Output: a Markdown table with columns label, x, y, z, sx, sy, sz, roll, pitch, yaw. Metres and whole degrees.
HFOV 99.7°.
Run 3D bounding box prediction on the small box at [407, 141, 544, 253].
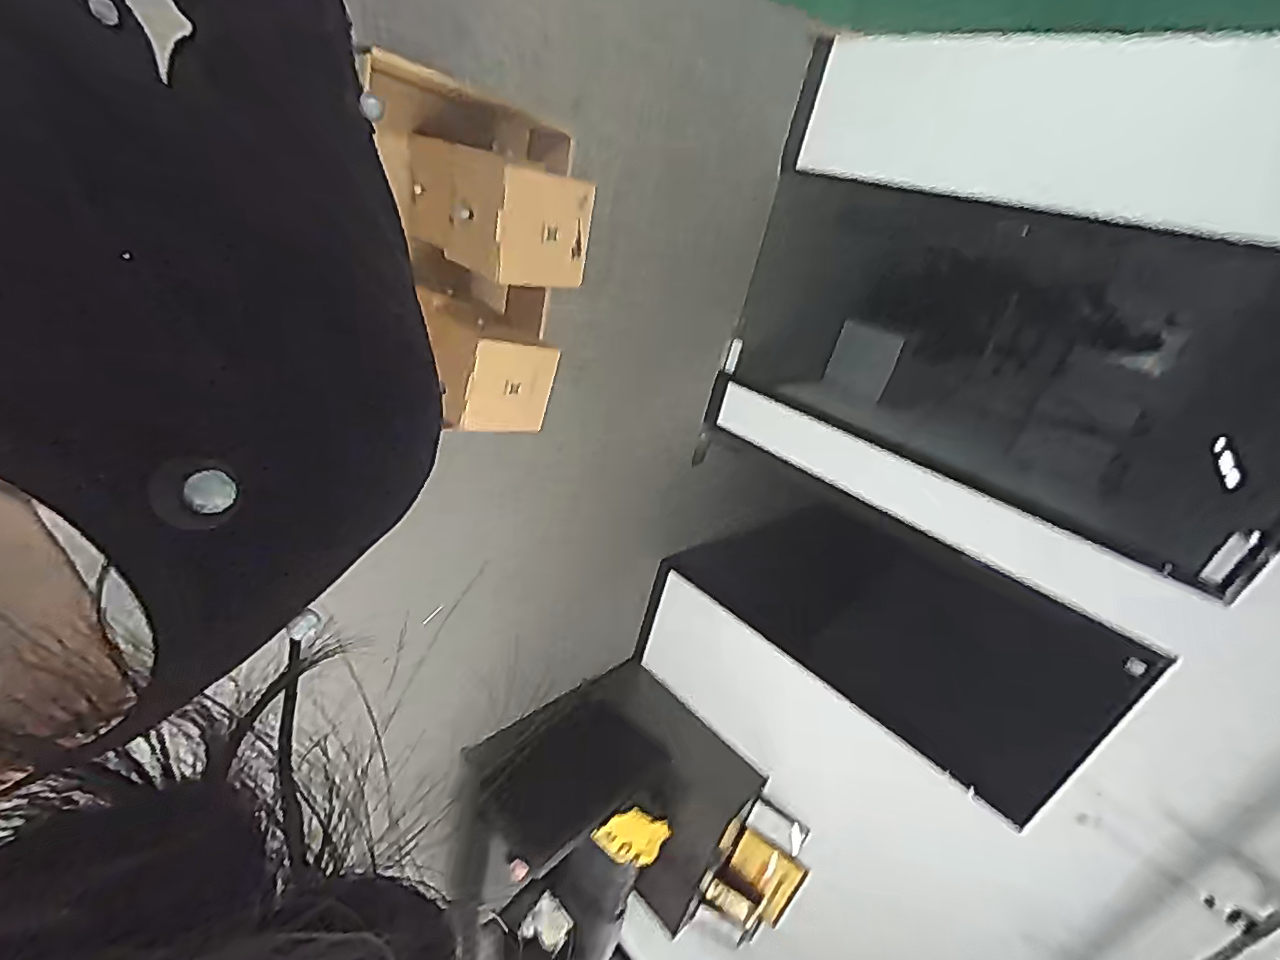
| label | x | y | z | sx | sy | sz | roll | pitch | yaw |
| --- | --- | --- | --- | --- | --- | --- | --- | --- | --- |
| small box | -0.308 | -0.513 | 1.003 | 0.179 | 0.176 | 0.168 | -17 | 129 | -45 |

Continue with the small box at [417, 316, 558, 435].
| label | x | y | z | sx | sy | sz | roll | pitch | yaw |
| --- | --- | --- | --- | --- | --- | --- | --- | --- | --- |
| small box | -0.288 | -0.193 | 1.006 | 0.179 | 0.176 | 0.168 | -5 | 122 | -50 |

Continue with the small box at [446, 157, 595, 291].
| label | x | y | z | sx | sy | sz | roll | pitch | yaw |
| --- | --- | --- | --- | --- | --- | --- | --- | --- | --- |
| small box | -0.207 | -0.428 | 0.907 | 0.179 | 0.176 | 0.168 | -15 | 129 | -44 |
